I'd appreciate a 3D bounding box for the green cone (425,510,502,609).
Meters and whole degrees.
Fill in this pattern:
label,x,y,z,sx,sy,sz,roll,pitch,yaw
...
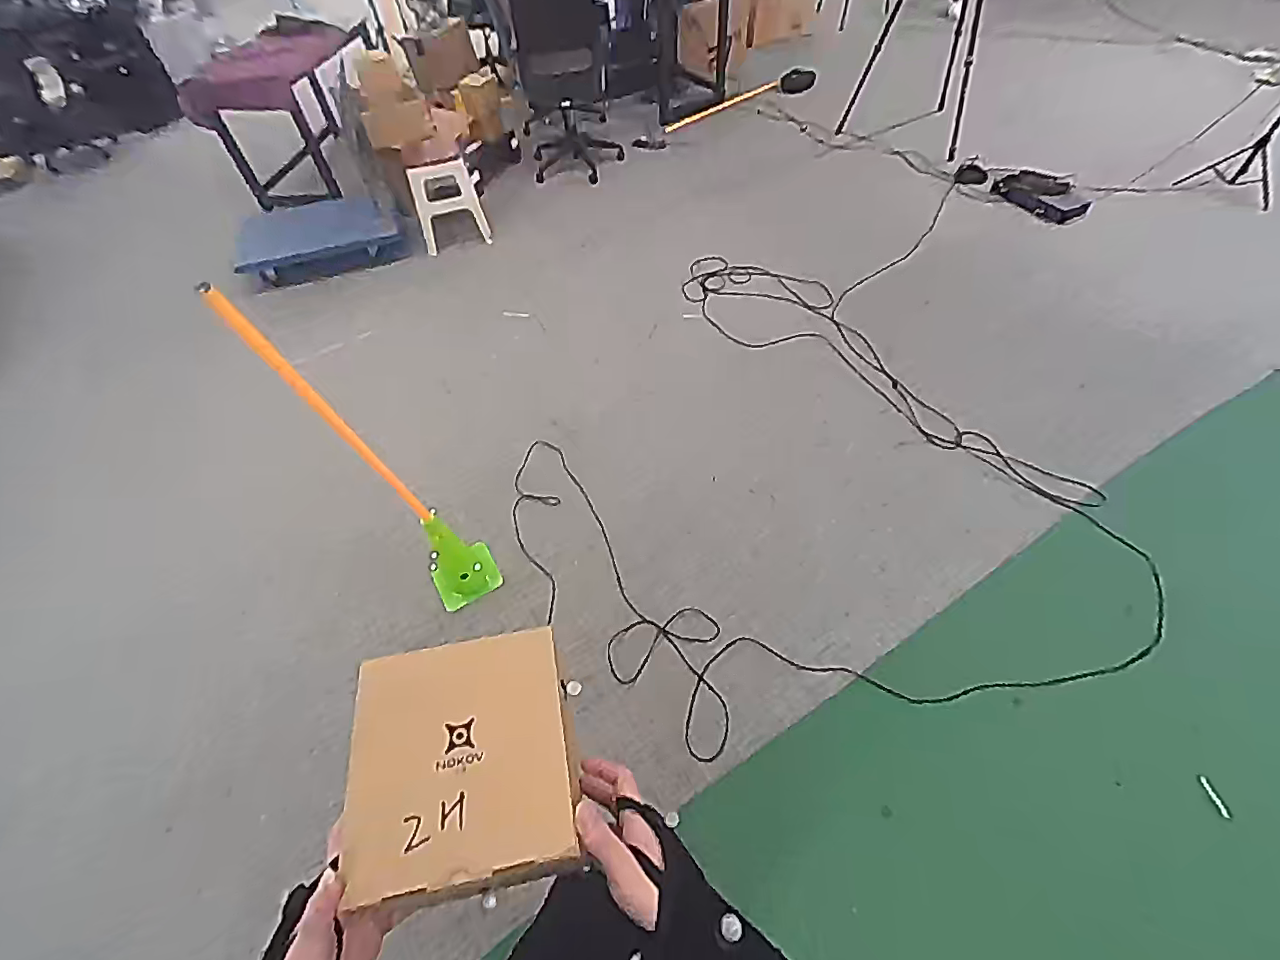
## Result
label,x,y,z,sx,sy,sz,roll,pitch,yaw
green cone,-0.595,0.214,1.690,0.202,0.368,0.200,-27,56,-17
